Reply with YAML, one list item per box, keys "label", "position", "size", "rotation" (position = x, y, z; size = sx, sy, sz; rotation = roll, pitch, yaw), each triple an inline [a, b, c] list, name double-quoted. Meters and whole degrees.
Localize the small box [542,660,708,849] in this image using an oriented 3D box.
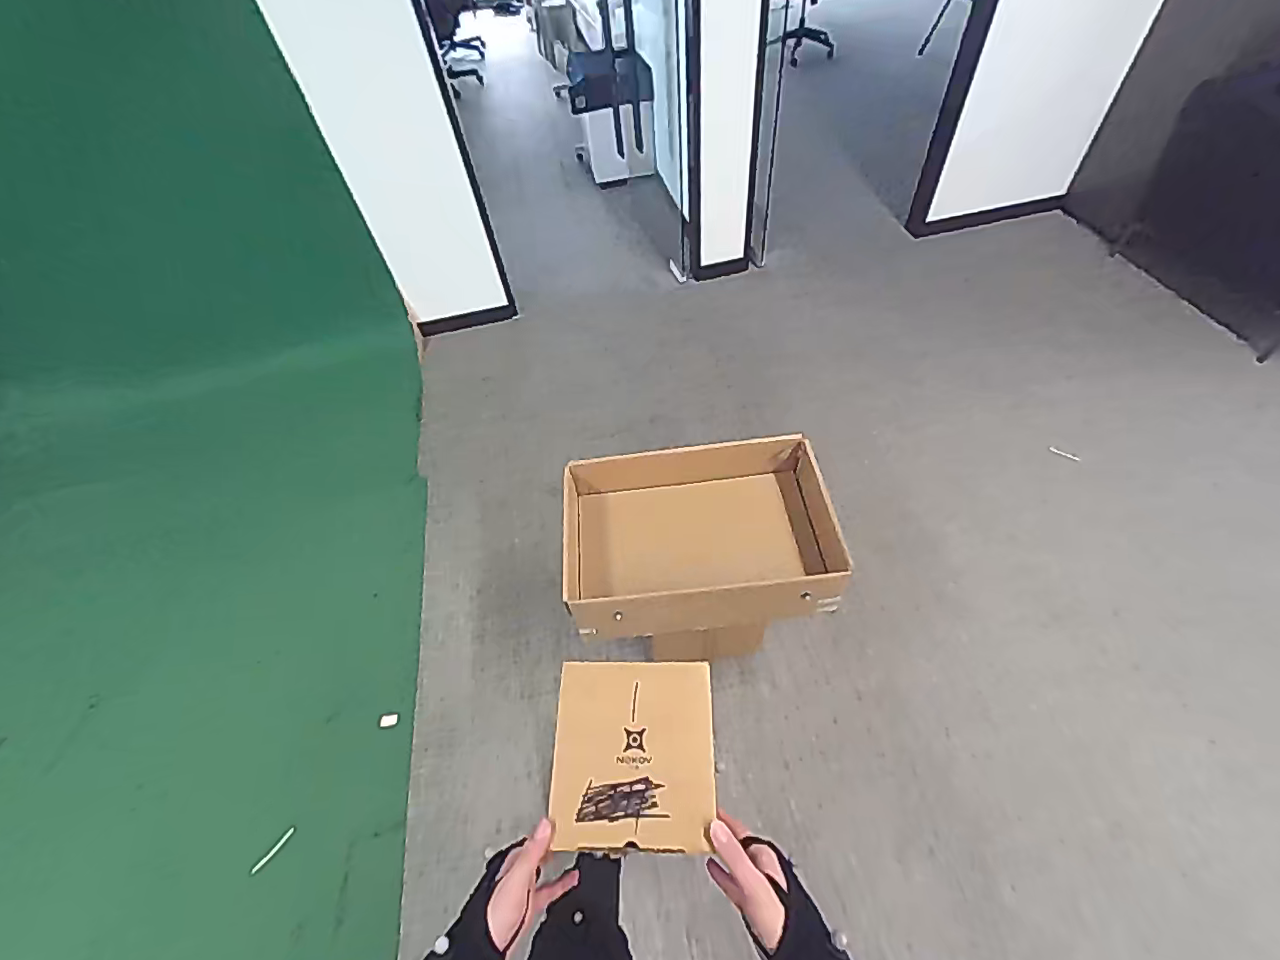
- label: "small box"
  position: [-0.005, 0.319, 0.633]
  size: [0.168, 0.176, 0.179]
  rotation: [-2, 58, 5]
